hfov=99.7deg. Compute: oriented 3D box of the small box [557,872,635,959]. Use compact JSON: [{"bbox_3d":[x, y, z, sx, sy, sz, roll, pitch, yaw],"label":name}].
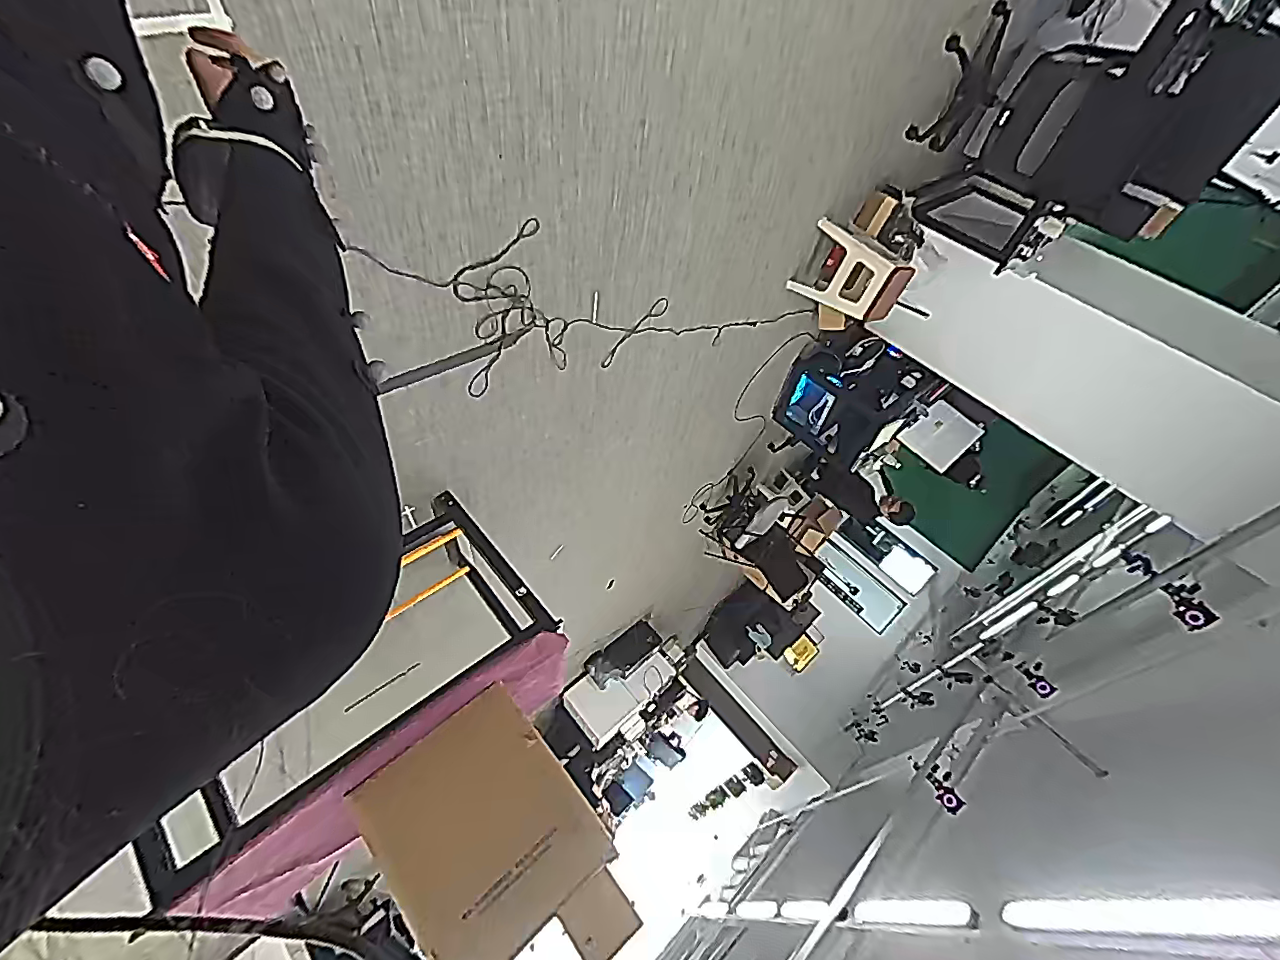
[{"bbox_3d":[-0.139,1.333,1.643,0.168,0.176,0.179,-32,153,-28],"label":"small box"}]
